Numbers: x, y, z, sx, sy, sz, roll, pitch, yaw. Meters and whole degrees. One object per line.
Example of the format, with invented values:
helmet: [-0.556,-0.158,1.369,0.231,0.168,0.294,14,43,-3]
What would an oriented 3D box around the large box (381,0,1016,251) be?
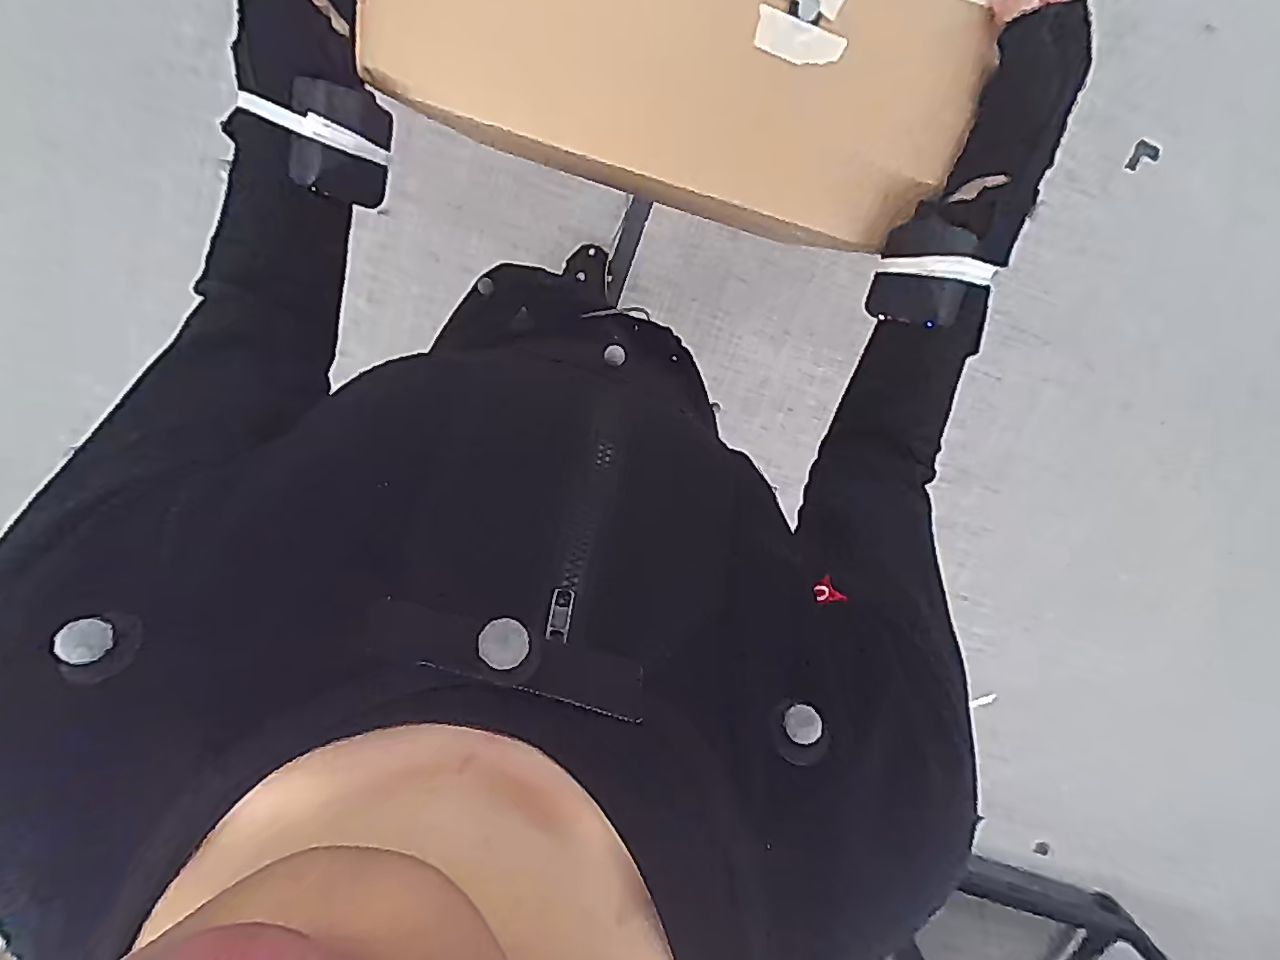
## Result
large box: [0.046,-0.415,0.462,0.408,0.320,0.320,13,115,-9]
